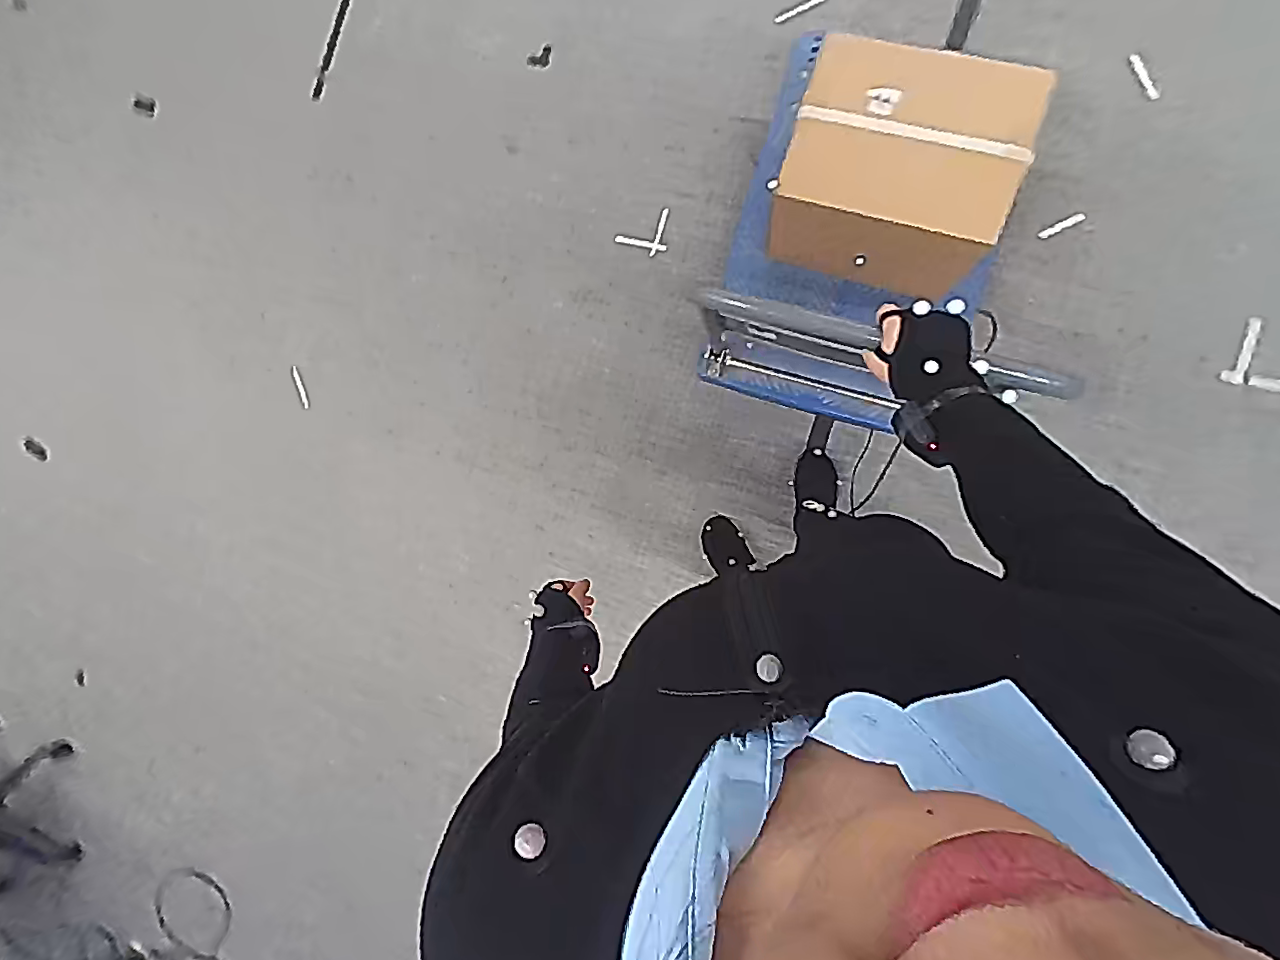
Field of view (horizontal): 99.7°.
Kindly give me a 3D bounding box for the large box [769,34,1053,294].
[{"bbox_3d":[0.508,-0.620,1.110,0.408,0.320,0.320,19,92,12],"label":"large box"}]
